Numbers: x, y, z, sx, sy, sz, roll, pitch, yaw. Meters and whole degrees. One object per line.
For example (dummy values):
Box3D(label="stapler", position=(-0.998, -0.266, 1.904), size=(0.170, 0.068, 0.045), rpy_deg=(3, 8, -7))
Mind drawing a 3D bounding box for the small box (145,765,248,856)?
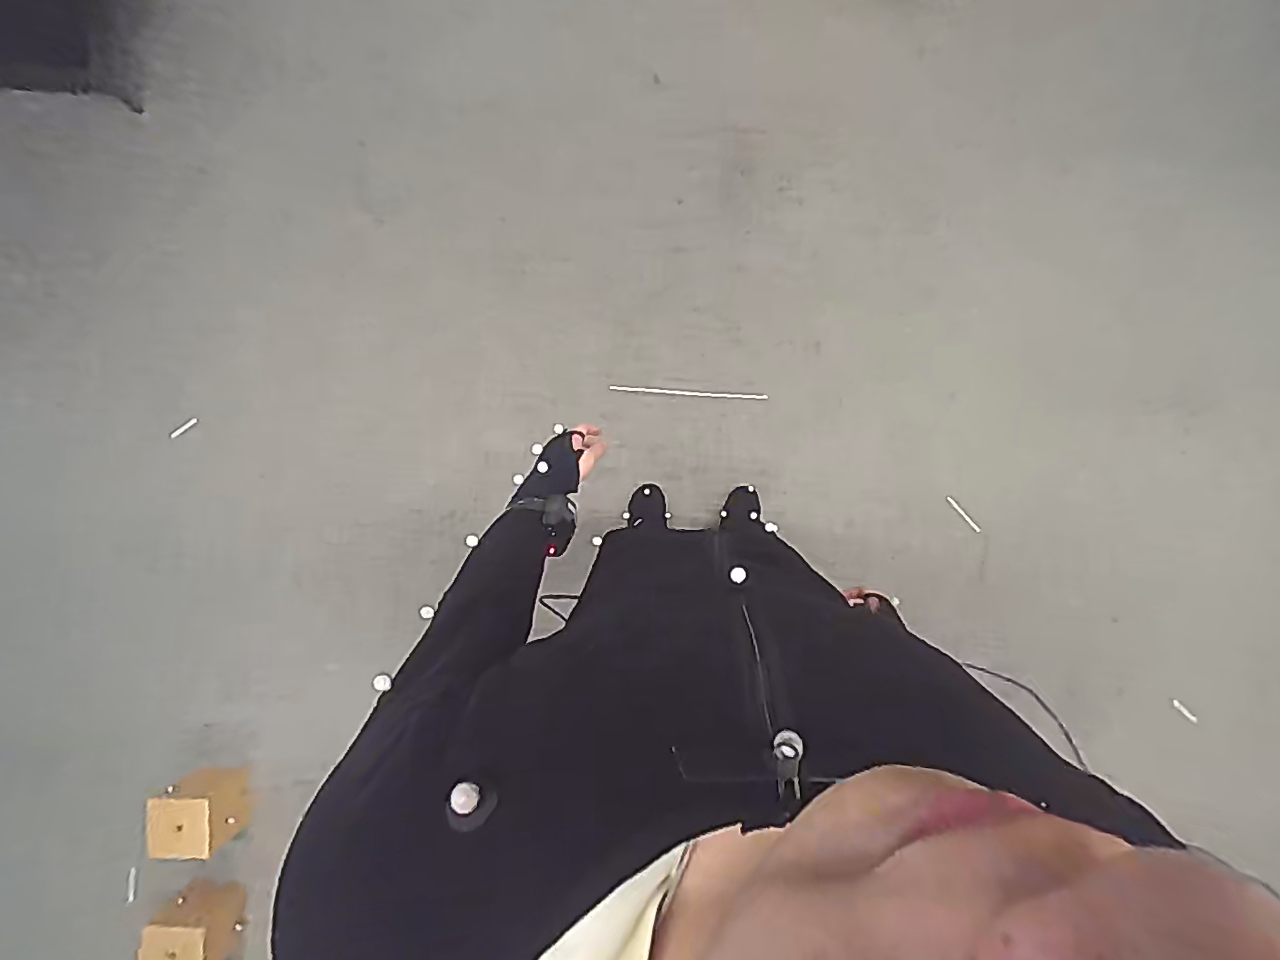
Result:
Box3D(label="small box", position=(-1.280, 0.954, 1.571), size=(0.179, 0.176, 0.168), rpy_deg=(0, 89, 2))

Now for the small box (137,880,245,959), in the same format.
Box3D(label="small box", position=(-1.299, 1.303, 1.567), size=(0.179, 0.176, 0.168), rpy_deg=(3, 90, 1))
